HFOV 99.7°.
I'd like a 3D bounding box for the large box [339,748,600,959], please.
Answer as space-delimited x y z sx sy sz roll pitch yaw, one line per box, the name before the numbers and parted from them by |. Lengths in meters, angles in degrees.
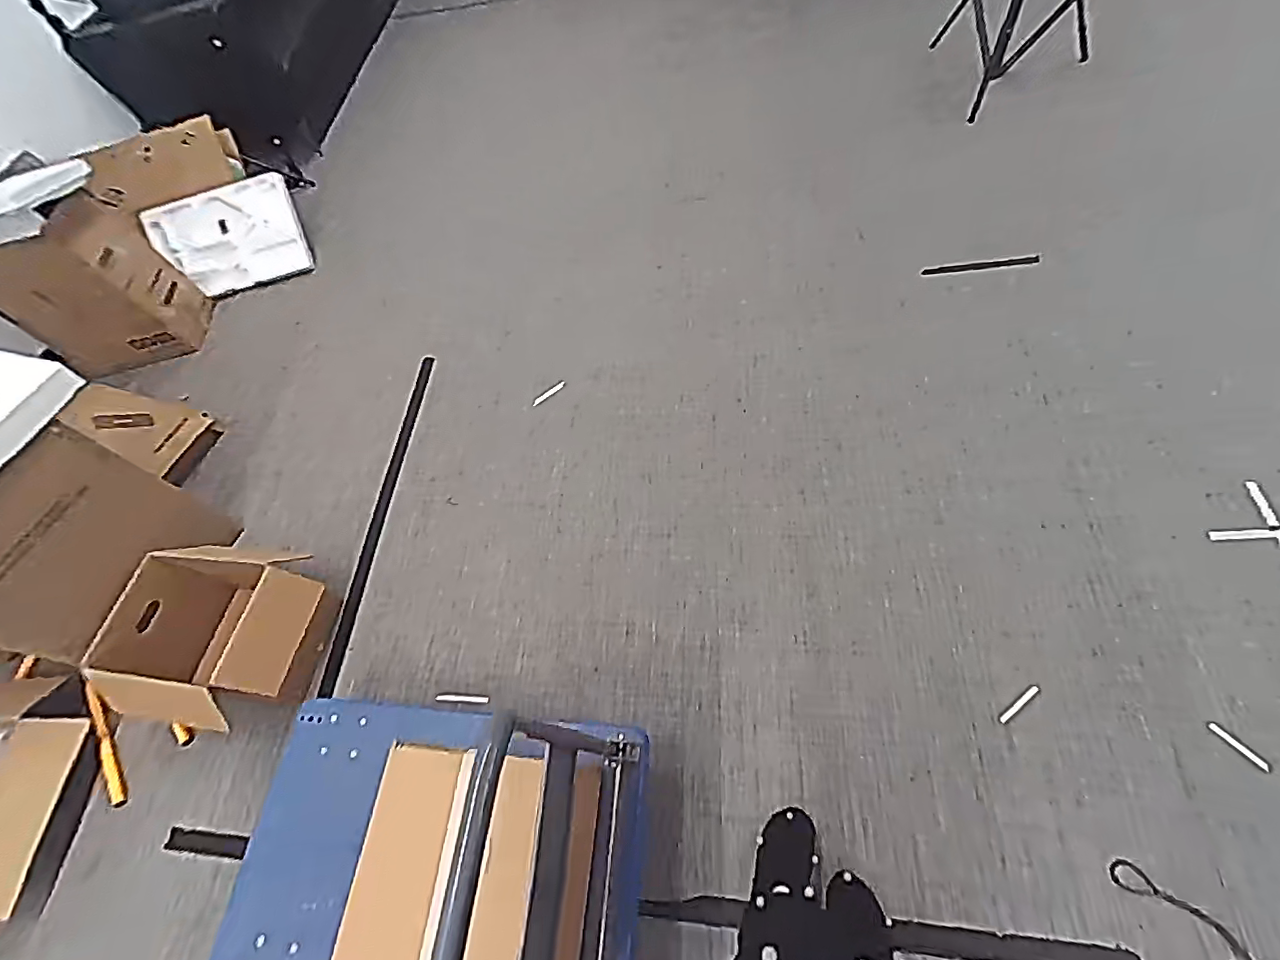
large box | -0.275 0.724 0.966 0.320 0.320 0.408 0 60 11
